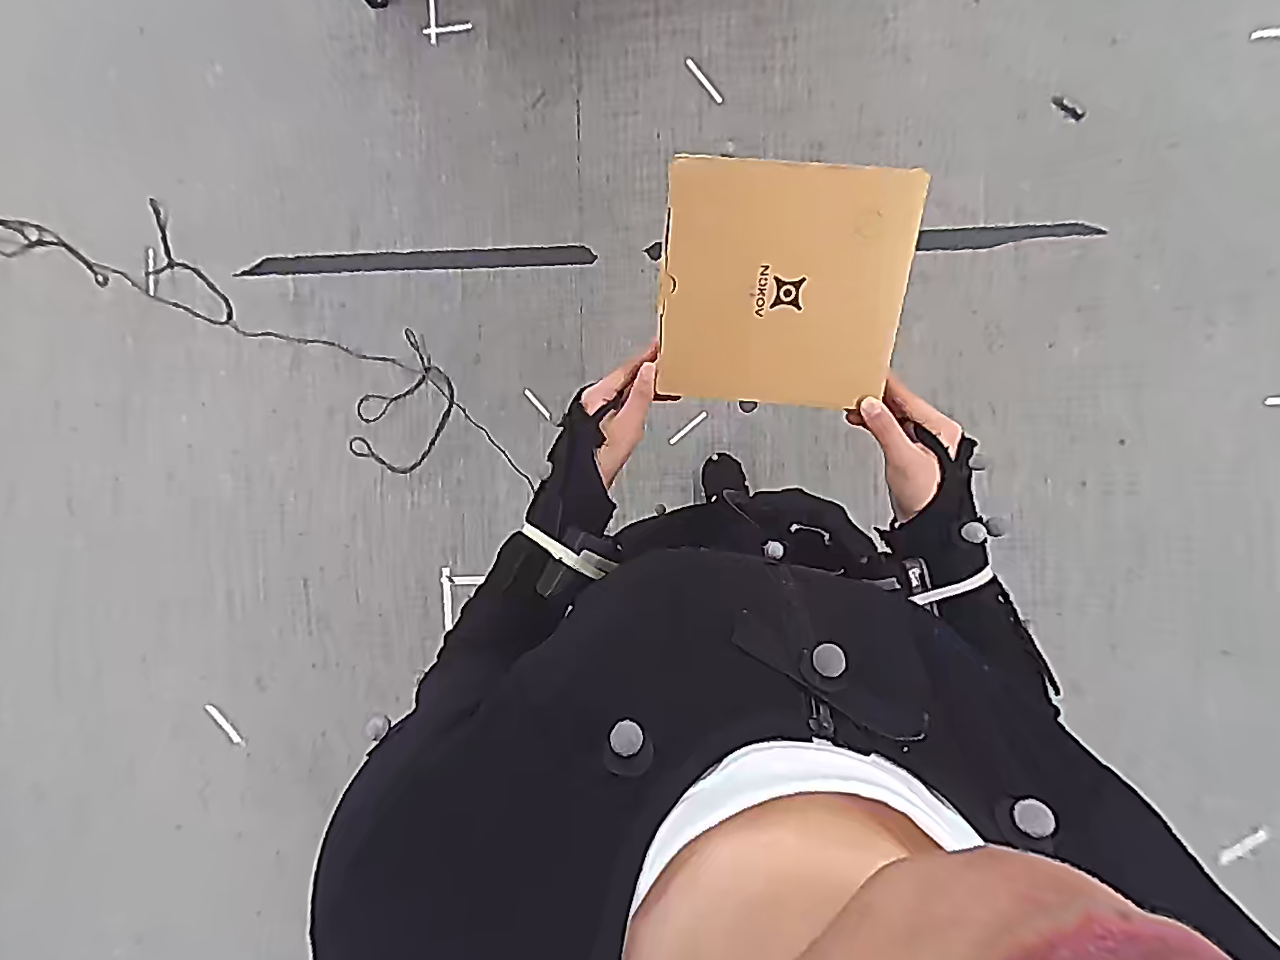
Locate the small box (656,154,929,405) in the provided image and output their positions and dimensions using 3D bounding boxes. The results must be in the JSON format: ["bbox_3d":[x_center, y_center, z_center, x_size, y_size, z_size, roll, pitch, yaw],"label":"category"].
[{"bbox_3d":[0.110,-0.170,0.469,0.179,0.176,0.168,5,111,4],"label":"small box"}]
